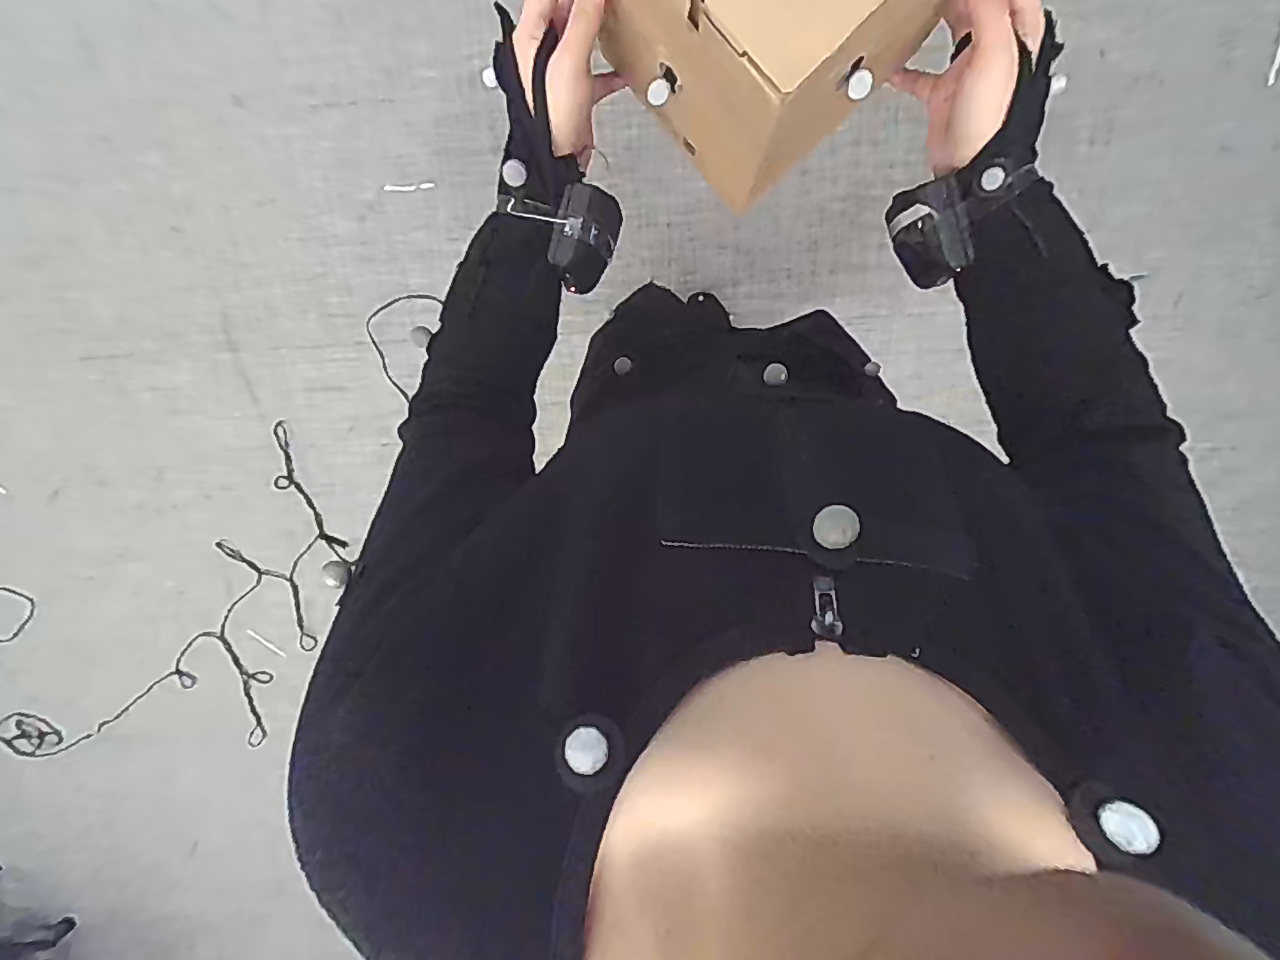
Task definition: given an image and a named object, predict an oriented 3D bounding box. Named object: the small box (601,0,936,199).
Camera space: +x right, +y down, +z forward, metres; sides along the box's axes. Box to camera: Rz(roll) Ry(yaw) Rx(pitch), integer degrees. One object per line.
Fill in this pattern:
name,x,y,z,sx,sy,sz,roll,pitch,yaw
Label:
small box,0.082,-0.317,0.334,0.179,0.176,0.168,-41,94,8
